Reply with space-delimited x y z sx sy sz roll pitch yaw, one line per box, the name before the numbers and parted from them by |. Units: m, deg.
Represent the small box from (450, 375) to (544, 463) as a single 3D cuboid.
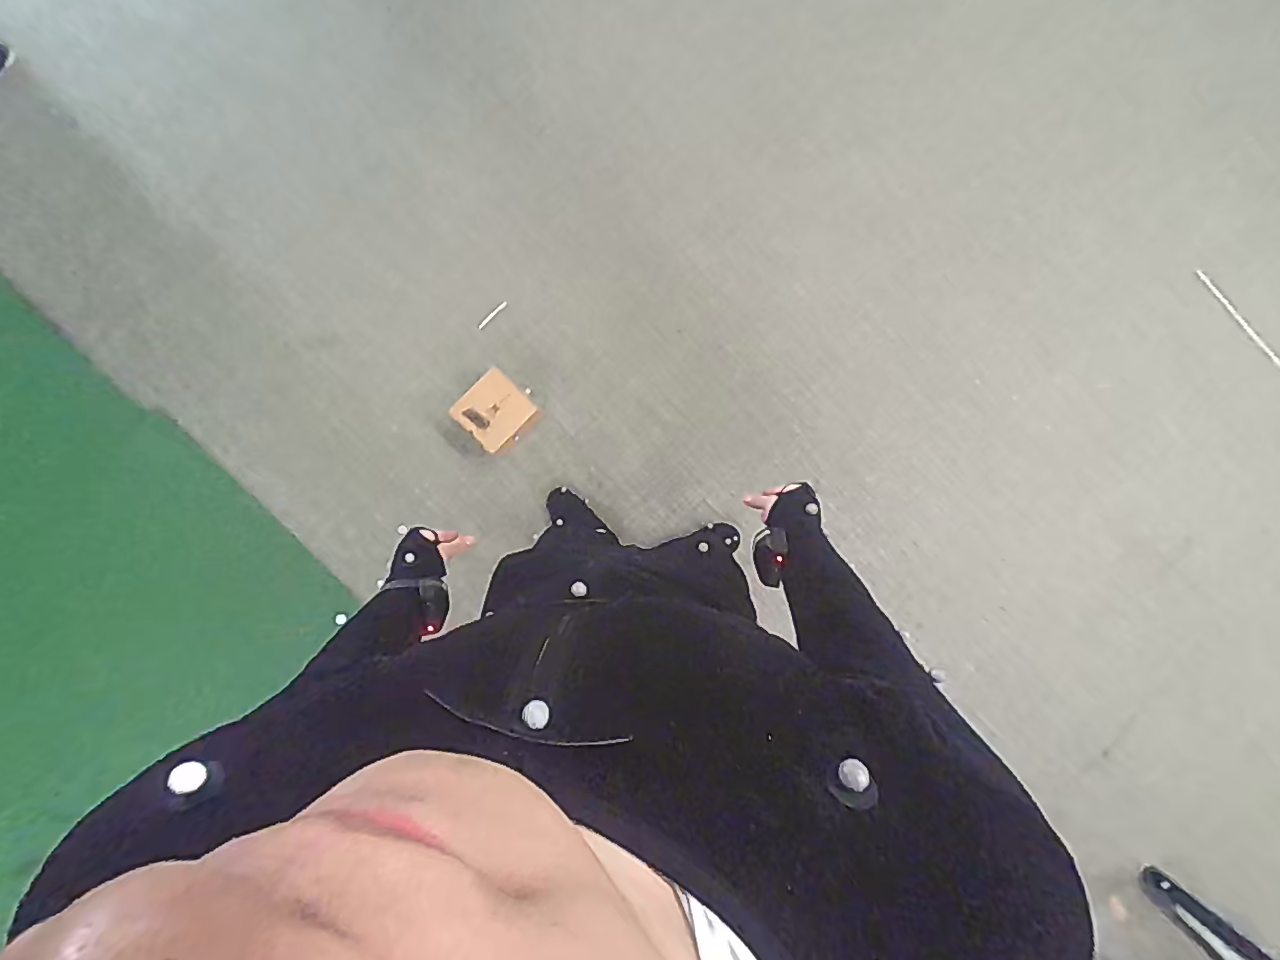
small box | -0.390 -0.163 1.515 0.179 0.176 0.168 -45 93 0
